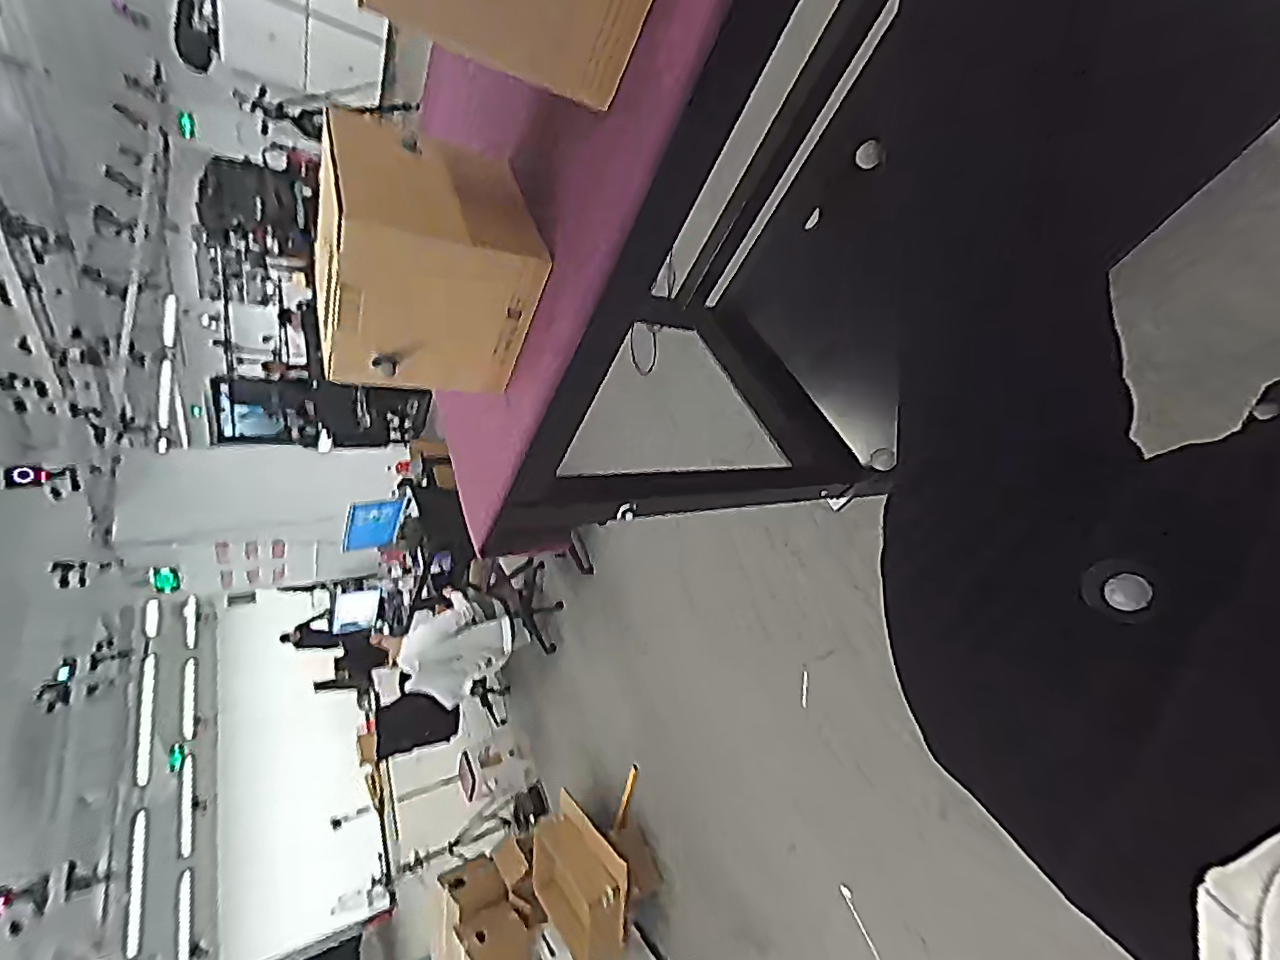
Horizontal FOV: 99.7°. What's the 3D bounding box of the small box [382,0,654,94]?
[{"bbox_3d":[-0.072,-0.396,0.338,0.179,0.176,0.168,-52,50,44],"label":"small box"}]
